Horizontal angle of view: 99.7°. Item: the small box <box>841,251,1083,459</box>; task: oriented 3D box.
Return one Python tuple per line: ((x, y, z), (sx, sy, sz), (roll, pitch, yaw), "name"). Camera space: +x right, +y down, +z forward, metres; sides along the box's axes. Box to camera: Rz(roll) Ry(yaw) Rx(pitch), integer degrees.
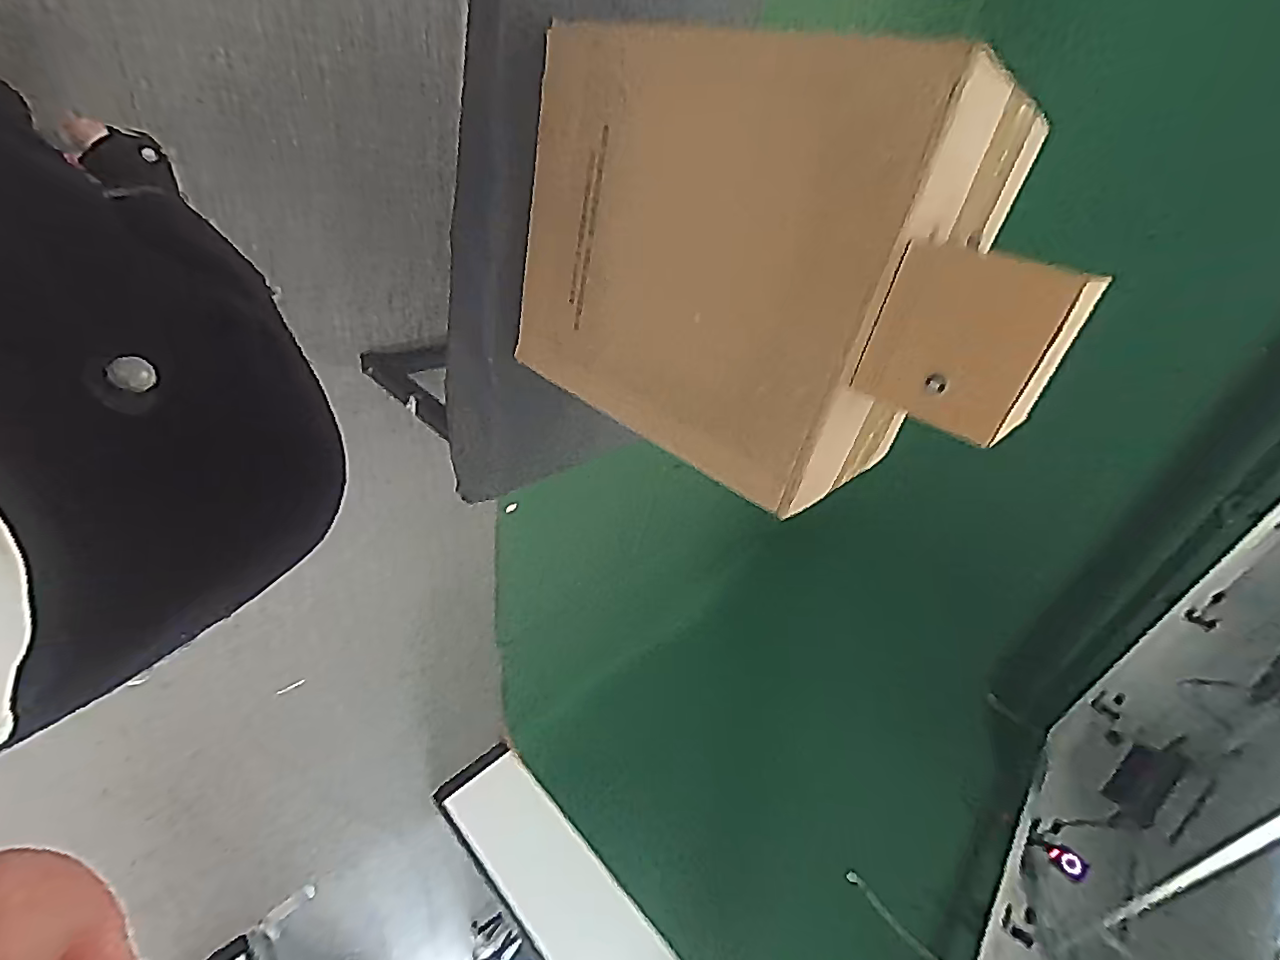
((0.361, -0.151, 0.629), (0.168, 0.176, 0.179), (-20, 132, -43), "small box")
